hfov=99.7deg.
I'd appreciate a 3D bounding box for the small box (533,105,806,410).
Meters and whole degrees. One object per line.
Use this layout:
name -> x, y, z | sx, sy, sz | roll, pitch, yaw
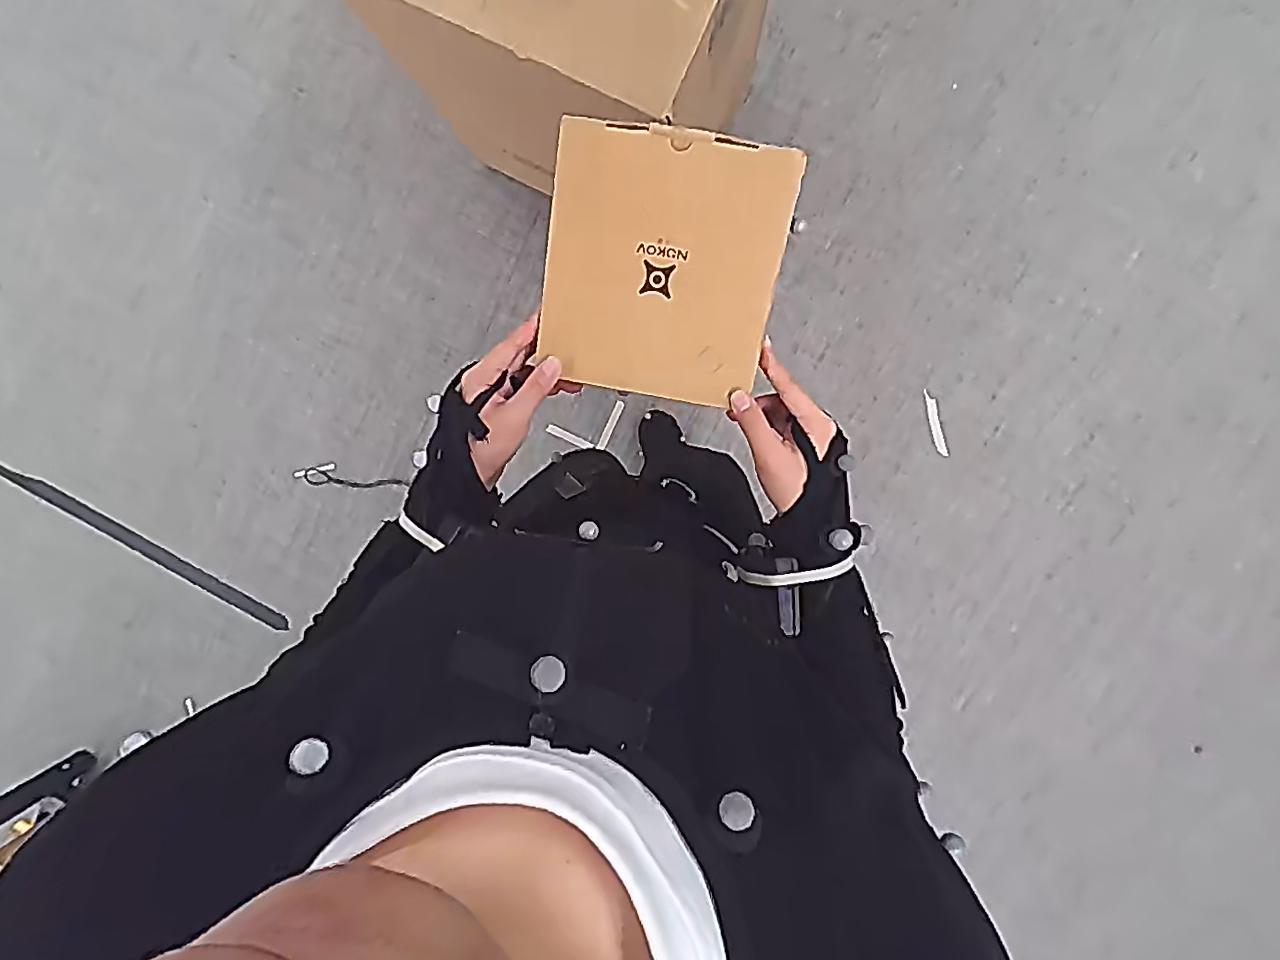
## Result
small box -> 0.024, -0.170, 0.445 | 0.168, 0.176, 0.179 | 11, 107, 4
